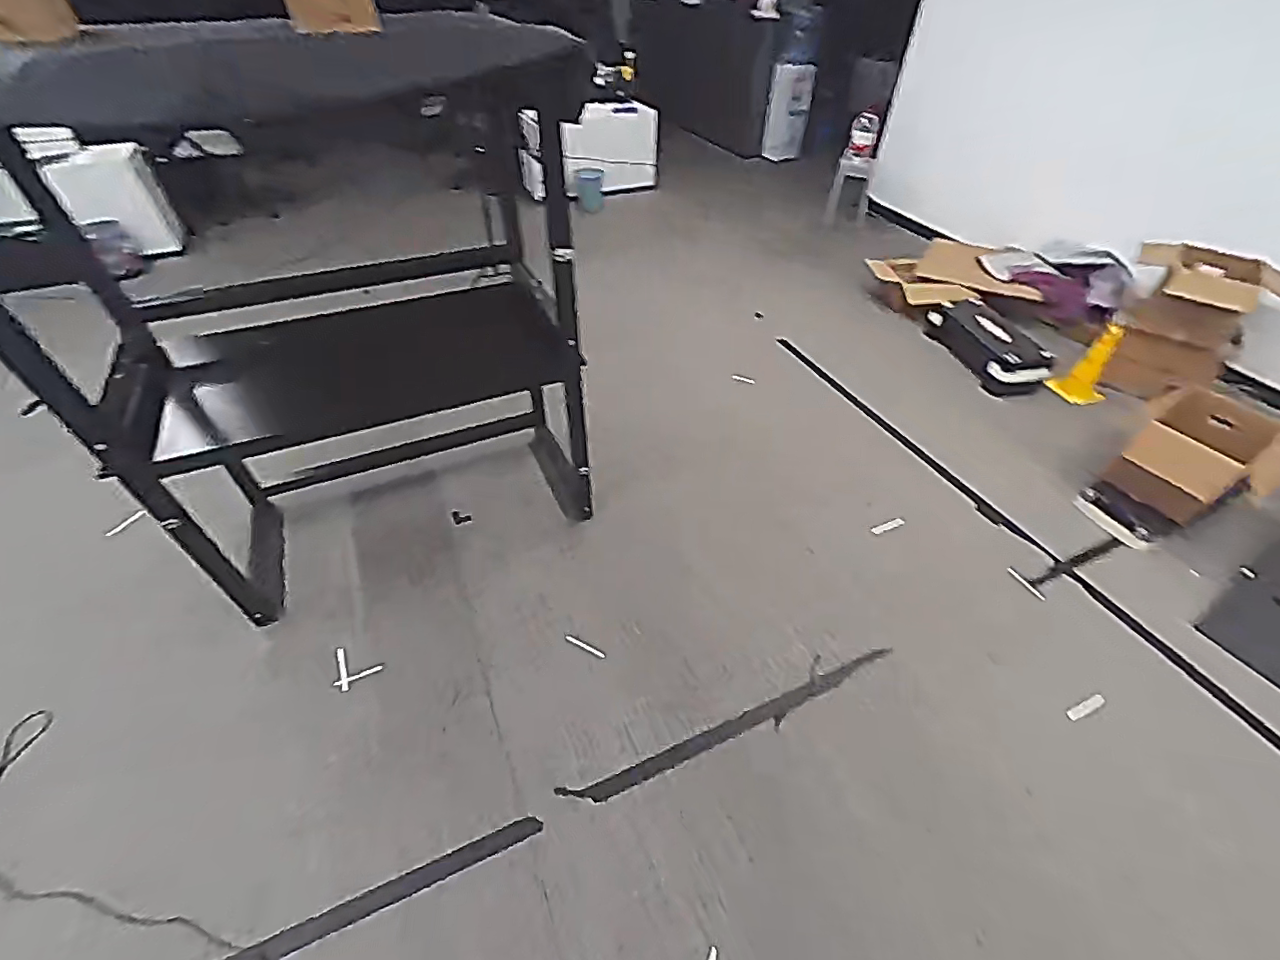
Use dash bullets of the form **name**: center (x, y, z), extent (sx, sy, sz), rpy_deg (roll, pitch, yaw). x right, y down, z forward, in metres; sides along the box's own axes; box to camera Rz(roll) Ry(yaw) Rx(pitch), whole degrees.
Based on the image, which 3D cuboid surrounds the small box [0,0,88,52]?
- **small box**: center (-1.207, -0.927, 1.017), extent (0.179, 0.176, 0.168), rpy_deg (-18, 49, -20)

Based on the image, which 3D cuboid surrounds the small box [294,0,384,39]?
- **small box**: center (-0.689, -1.098, 1.204), extent (0.168, 0.176, 0.179), rpy_deg (-18, 48, -18)
